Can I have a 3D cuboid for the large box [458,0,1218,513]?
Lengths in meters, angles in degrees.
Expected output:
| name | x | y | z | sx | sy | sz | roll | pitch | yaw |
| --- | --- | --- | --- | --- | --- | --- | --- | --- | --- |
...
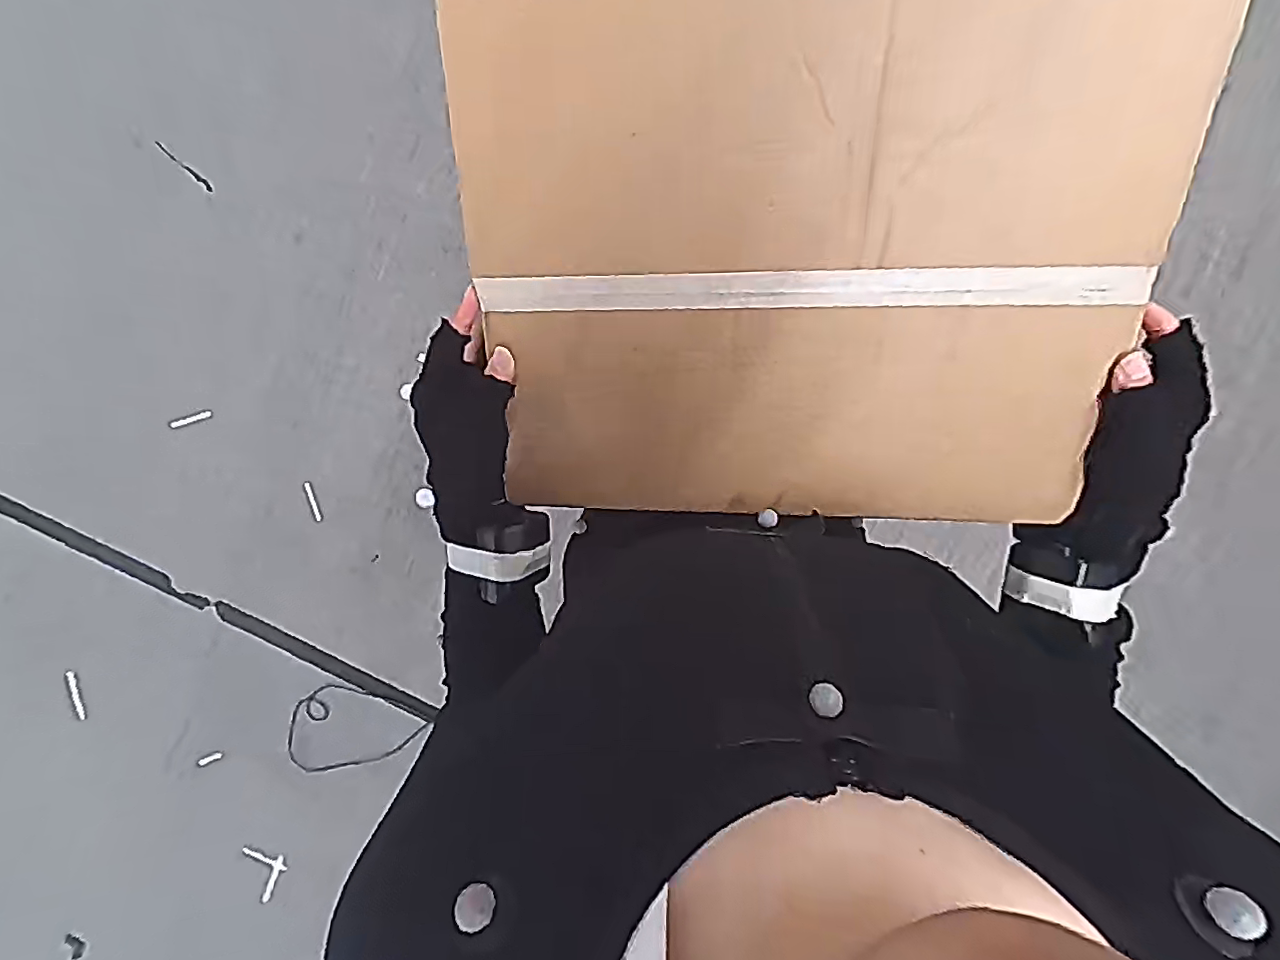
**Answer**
| name | x | y | z | sx | sy | sz | roll | pitch | yaw |
| --- | --- | --- | --- | --- | --- | --- | --- | --- | --- |
| large box | 0.109 | -0.179 | 0.481 | 0.408 | 0.320 | 0.320 | 2 | 115 | 6 |
